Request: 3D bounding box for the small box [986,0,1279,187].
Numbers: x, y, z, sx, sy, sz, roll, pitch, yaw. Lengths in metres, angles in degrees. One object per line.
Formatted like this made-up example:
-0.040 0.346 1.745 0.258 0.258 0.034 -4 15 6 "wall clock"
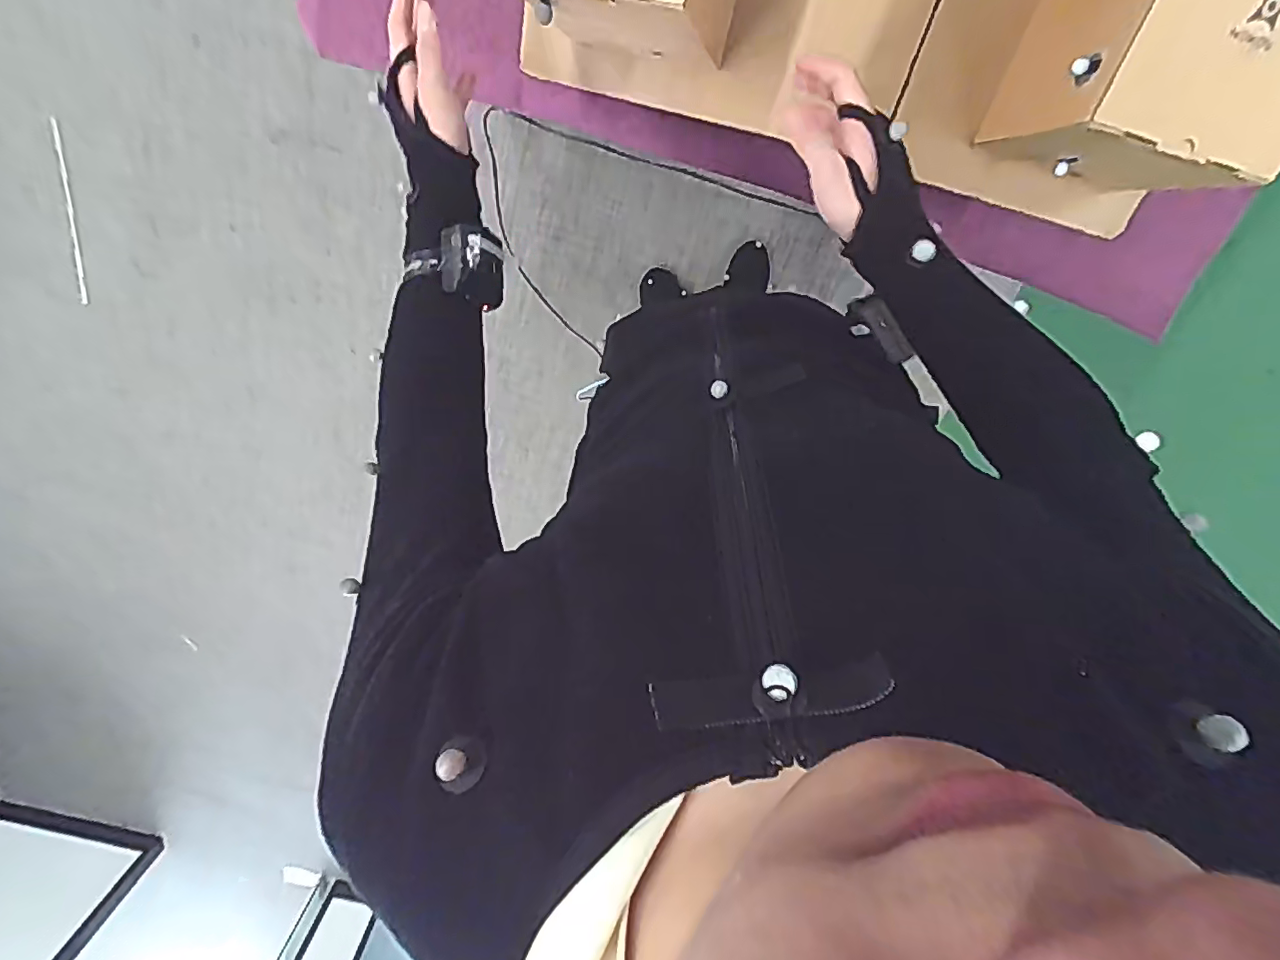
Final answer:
0.436 -0.359 0.446 0.168 0.176 0.179 12 117 -6 "small box"
